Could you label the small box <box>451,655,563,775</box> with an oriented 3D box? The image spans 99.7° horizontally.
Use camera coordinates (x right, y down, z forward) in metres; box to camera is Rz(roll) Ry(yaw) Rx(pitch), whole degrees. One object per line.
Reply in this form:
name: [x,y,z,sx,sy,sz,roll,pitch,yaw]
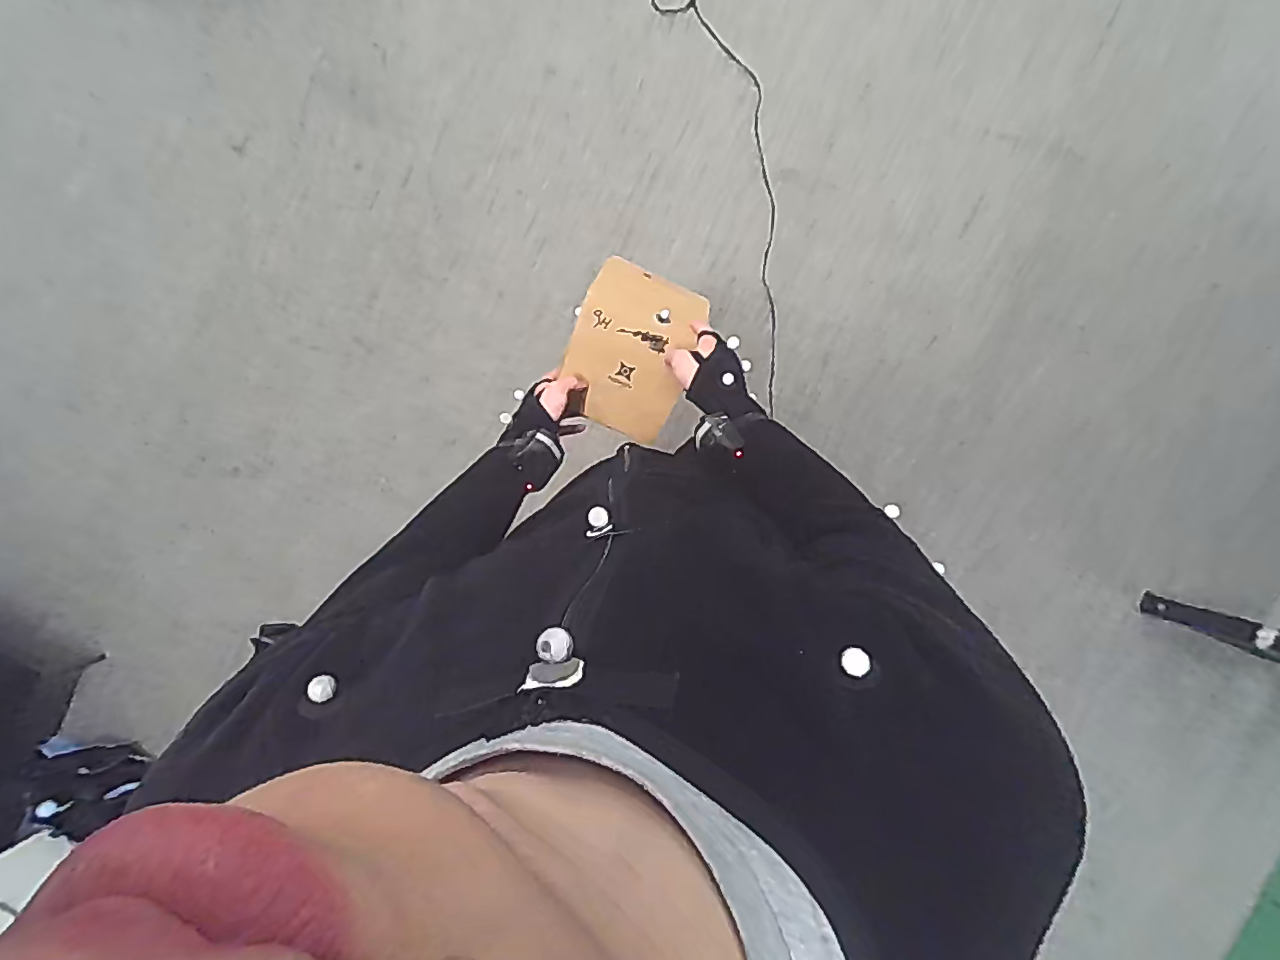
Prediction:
small box: [-0.288,0.513,1.209,0.179,0.176,0.168,18,94,0]
